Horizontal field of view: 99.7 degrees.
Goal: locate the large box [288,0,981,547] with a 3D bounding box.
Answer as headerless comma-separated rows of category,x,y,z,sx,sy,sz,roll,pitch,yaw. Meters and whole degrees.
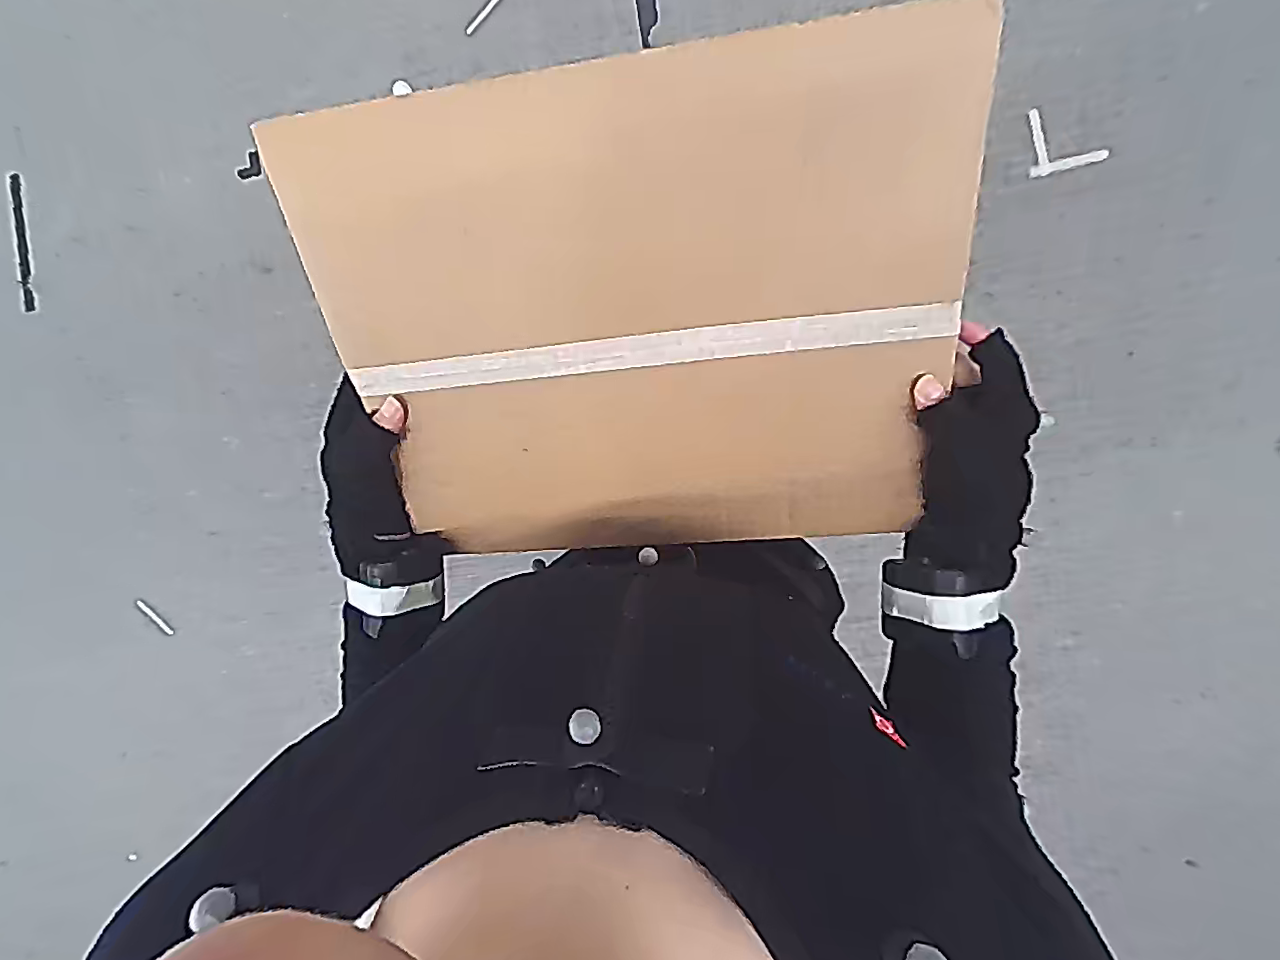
large box,0.010,-0.162,0.499,0.408,0.320,0.320,-4,120,8
